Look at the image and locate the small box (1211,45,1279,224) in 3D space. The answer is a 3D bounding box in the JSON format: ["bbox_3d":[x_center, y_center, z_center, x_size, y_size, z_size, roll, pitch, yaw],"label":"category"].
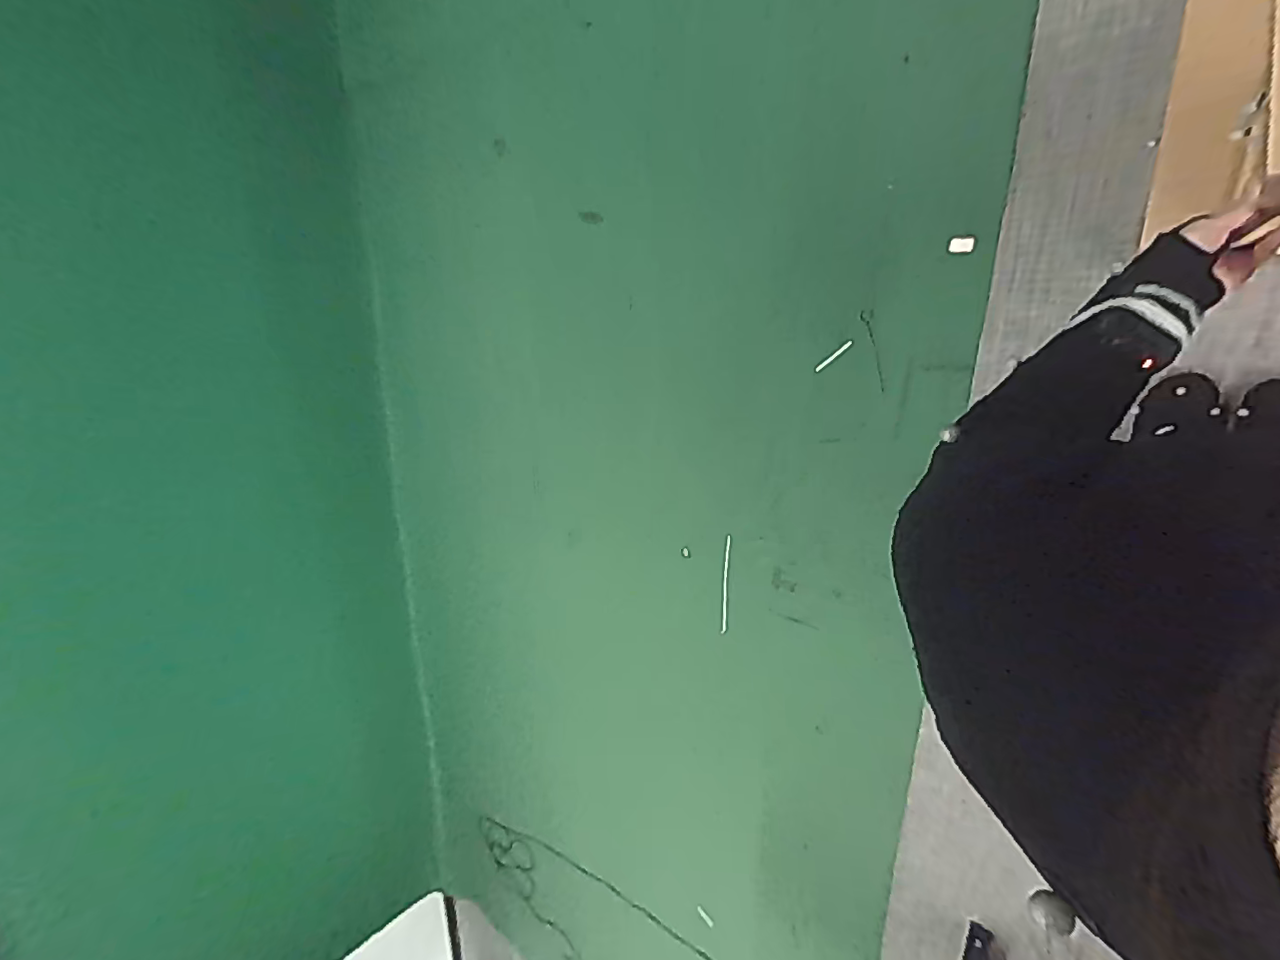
[{"bbox_3d":[0.837,-0.419,0.658,0.168,0.176,0.179,14,110,38],"label":"small box"}]

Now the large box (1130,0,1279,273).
[{"bbox_3d":[0.986,-0.554,0.821,0.320,0.320,0.408,11,108,39],"label":"large box"}]

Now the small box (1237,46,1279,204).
[{"bbox_3d":[0.736,-0.383,0.532,0.168,0.176,0.179,14,110,38],"label":"small box"}]
